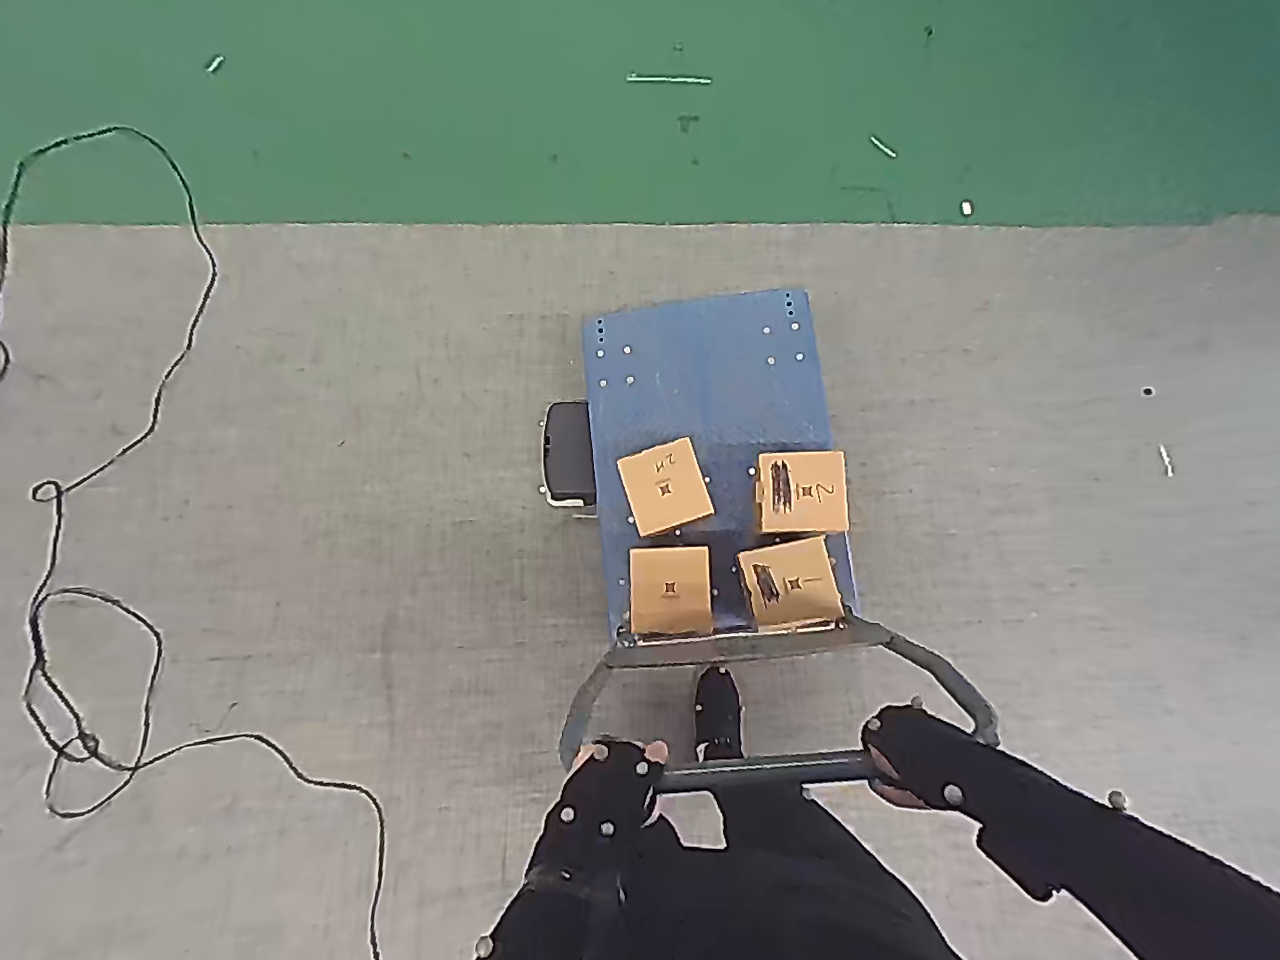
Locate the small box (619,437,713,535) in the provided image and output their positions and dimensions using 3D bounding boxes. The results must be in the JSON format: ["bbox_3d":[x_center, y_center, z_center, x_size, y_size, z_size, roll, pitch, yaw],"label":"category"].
[{"bbox_3d":[0.063,0.022,1.225,0.168,0.176,0.179,-18,79,2],"label":"small box"}]

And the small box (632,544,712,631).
[{"bbox_3d":[0.071,0.235,1.191,0.168,0.176,0.179,-2,81,6],"label":"small box"}]
